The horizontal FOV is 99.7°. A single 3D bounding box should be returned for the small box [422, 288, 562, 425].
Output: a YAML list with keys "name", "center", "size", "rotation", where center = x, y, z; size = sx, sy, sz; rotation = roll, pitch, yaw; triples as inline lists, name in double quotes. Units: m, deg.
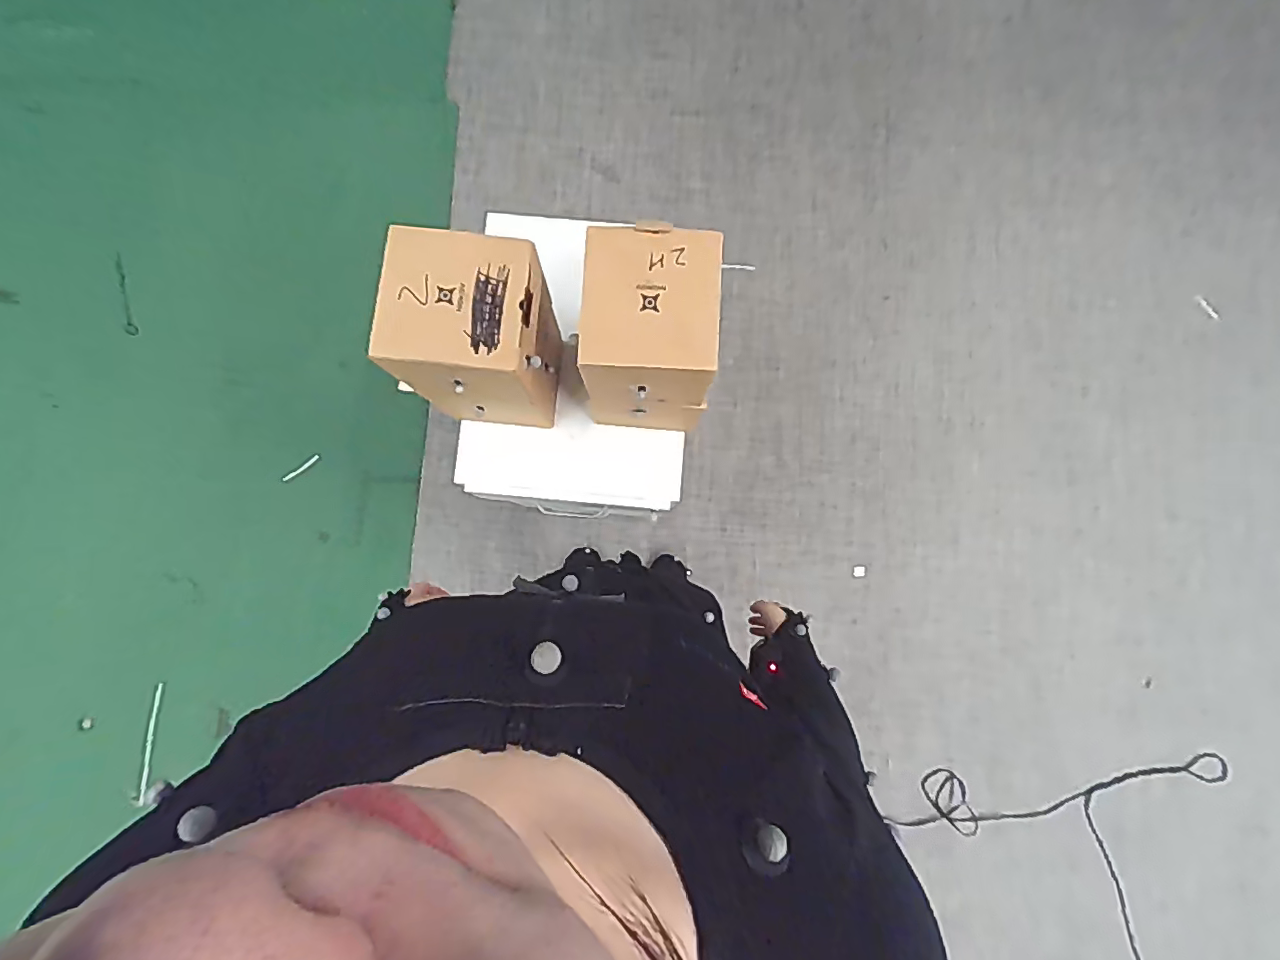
- name: "small box"
  center: [-0.230, -0.192, 0.884]
  size: [0.179, 0.176, 0.168]
  rotation: [6, 84, -3]

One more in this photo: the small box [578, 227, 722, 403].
- name: "small box"
  center: [0.013, -0.208, 0.723]
  size: [0.168, 0.176, 0.179]
  rotation: [3, 83, 0]
